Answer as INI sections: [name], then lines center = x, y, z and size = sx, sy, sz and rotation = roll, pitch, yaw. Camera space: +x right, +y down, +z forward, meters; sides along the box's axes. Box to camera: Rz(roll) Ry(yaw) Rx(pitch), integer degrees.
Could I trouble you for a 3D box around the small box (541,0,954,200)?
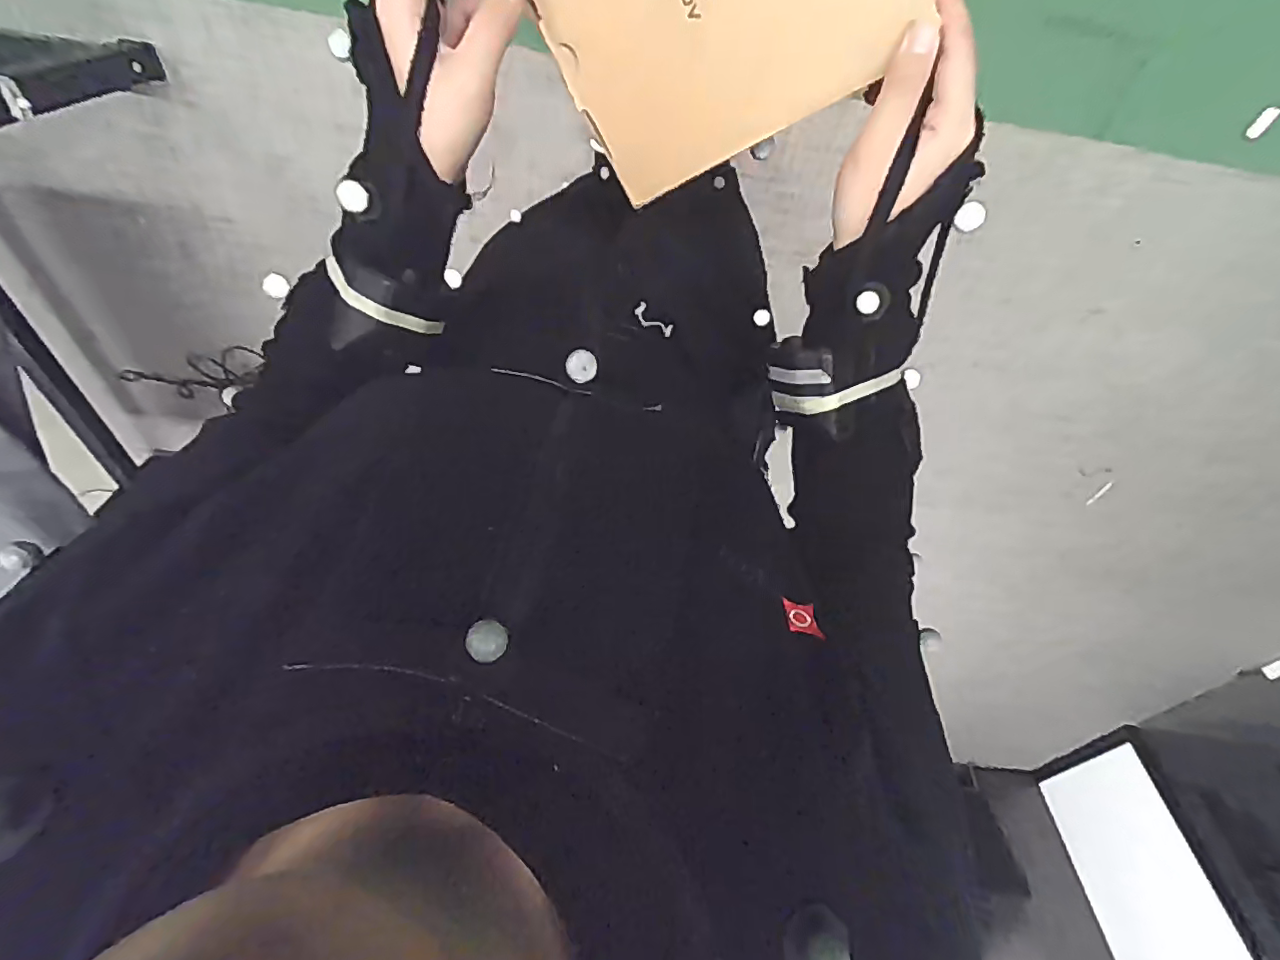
[small box]
center = 0.050, -0.302, 0.303
size = 0.179, 0.176, 0.168
rotation = -15, 130, 28
